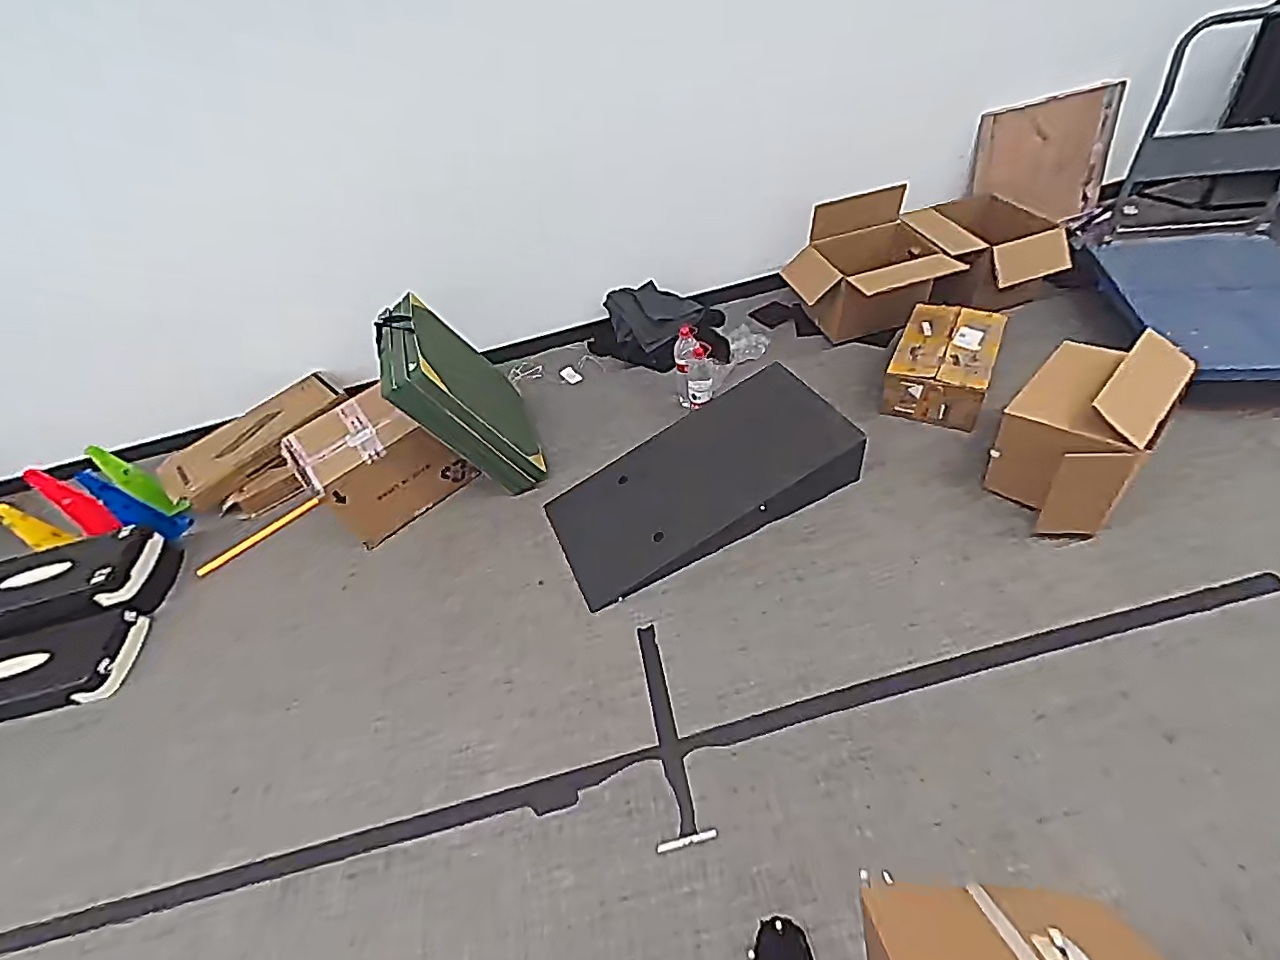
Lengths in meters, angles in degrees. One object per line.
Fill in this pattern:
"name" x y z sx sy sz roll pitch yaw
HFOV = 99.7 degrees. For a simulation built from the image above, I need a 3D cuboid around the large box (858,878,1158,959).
"large box" 0.460 0.713 0.578 0.320 0.408 0.320 -3 81 8
